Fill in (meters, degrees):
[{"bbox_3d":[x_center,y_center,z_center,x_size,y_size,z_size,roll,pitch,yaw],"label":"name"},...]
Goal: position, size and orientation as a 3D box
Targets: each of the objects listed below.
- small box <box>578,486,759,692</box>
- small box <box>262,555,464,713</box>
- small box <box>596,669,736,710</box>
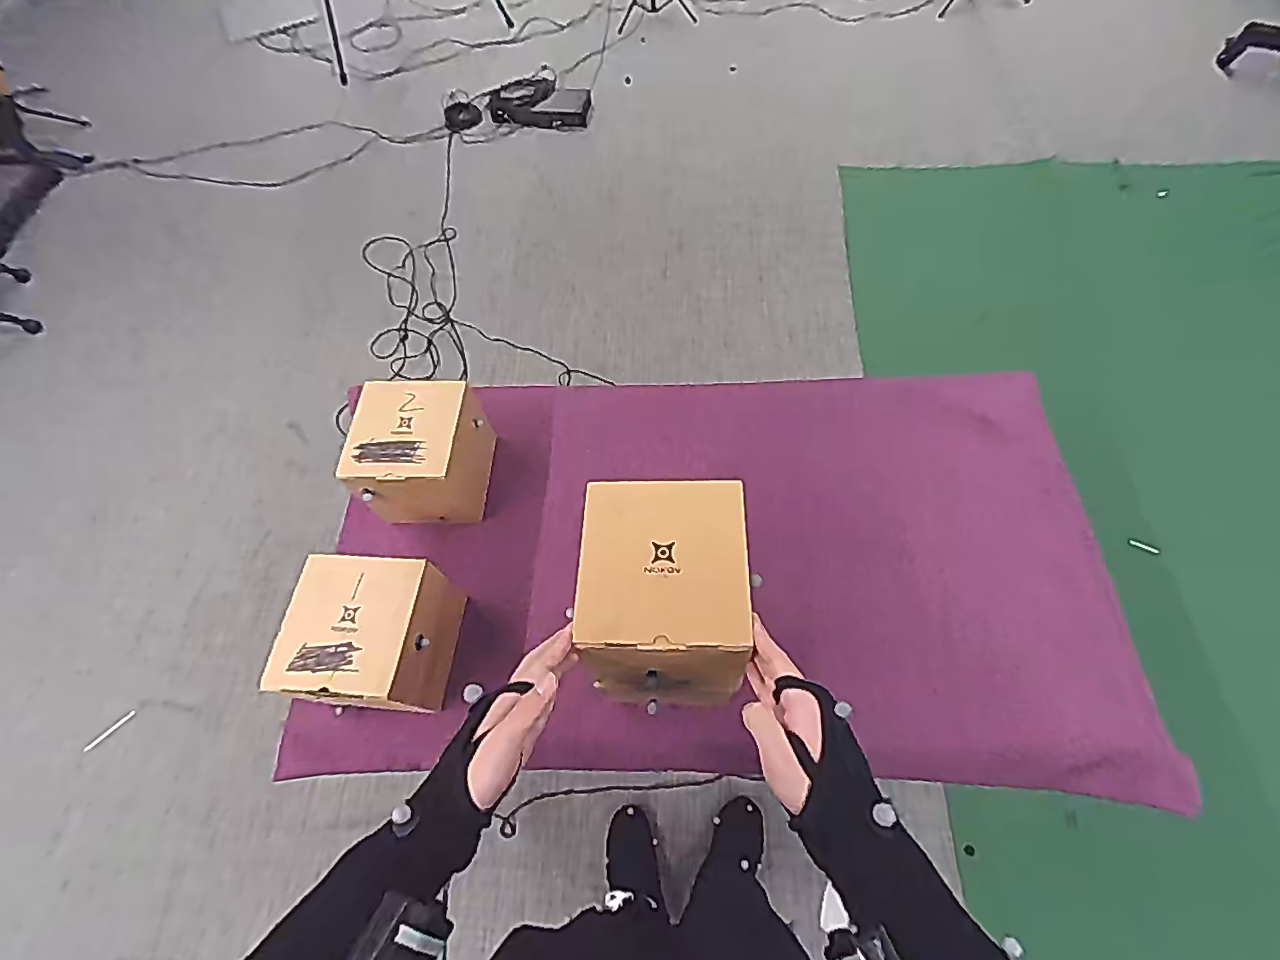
[{"bbox_3d":[0.032,0.122,0.593,0.168,0.176,0.179,0,60,4],"label":"small box"},{"bbox_3d":[-0.361,0.219,0.748,0.168,0.176,0.179,3,61,4],"label":"small box"},{"bbox_3d":[0.038,0.207,0.734,0.168,0.176,0.179,0,62,5],"label":"small box"}]
